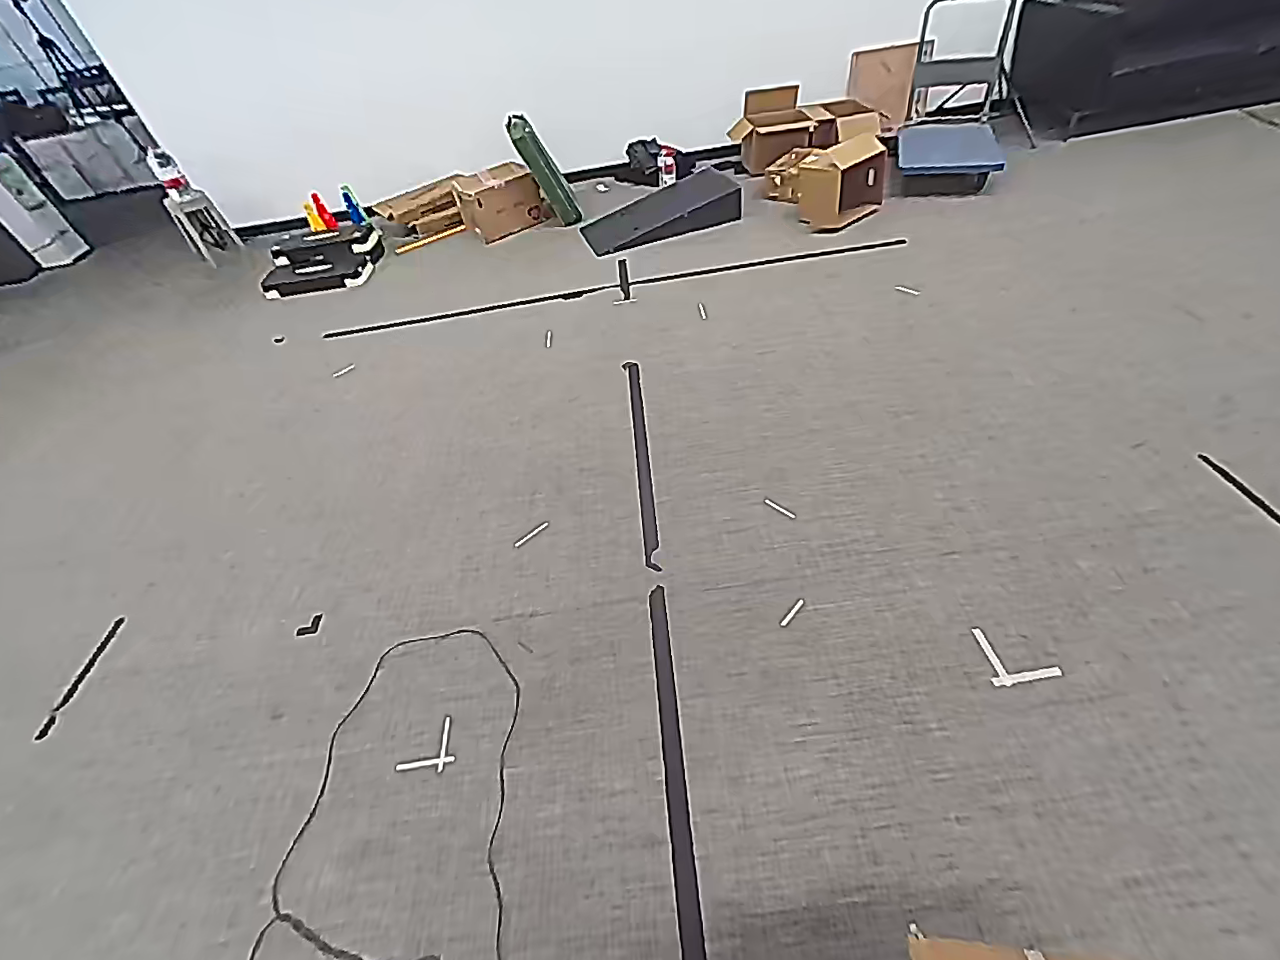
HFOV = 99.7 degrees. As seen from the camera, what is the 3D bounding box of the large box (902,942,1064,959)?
[{"bbox_3d":[0.476,0.774,0.527,0.320,0.408,0.320,-3,81,16],"label":"large box"}]
